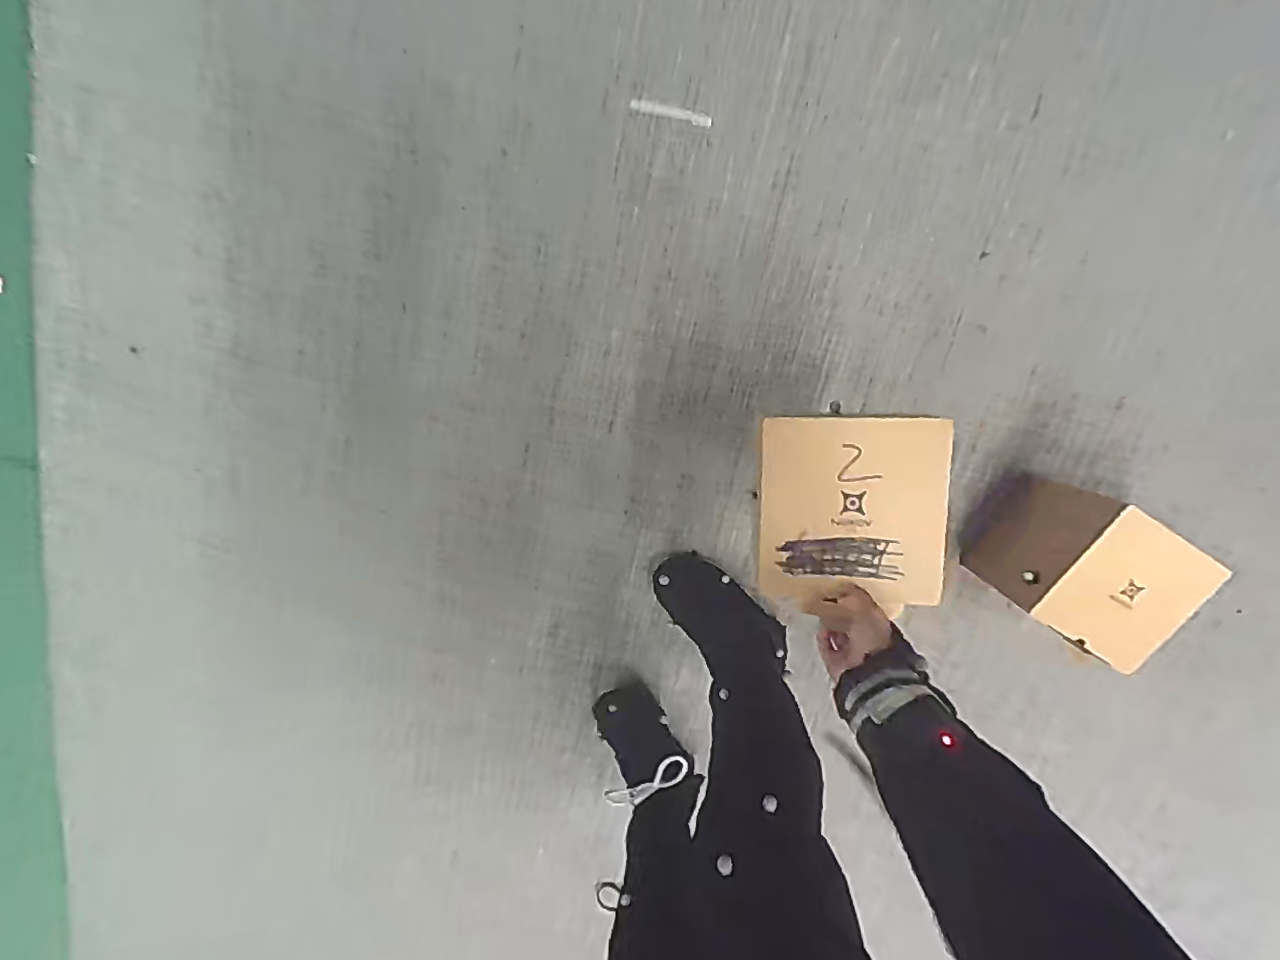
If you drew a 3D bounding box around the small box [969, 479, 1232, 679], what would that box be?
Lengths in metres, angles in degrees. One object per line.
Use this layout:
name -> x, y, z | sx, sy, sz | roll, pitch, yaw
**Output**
small box -> 0.599, 0.122, 0.733 | 0.168, 0.176, 0.179 | 31, 104, -5
